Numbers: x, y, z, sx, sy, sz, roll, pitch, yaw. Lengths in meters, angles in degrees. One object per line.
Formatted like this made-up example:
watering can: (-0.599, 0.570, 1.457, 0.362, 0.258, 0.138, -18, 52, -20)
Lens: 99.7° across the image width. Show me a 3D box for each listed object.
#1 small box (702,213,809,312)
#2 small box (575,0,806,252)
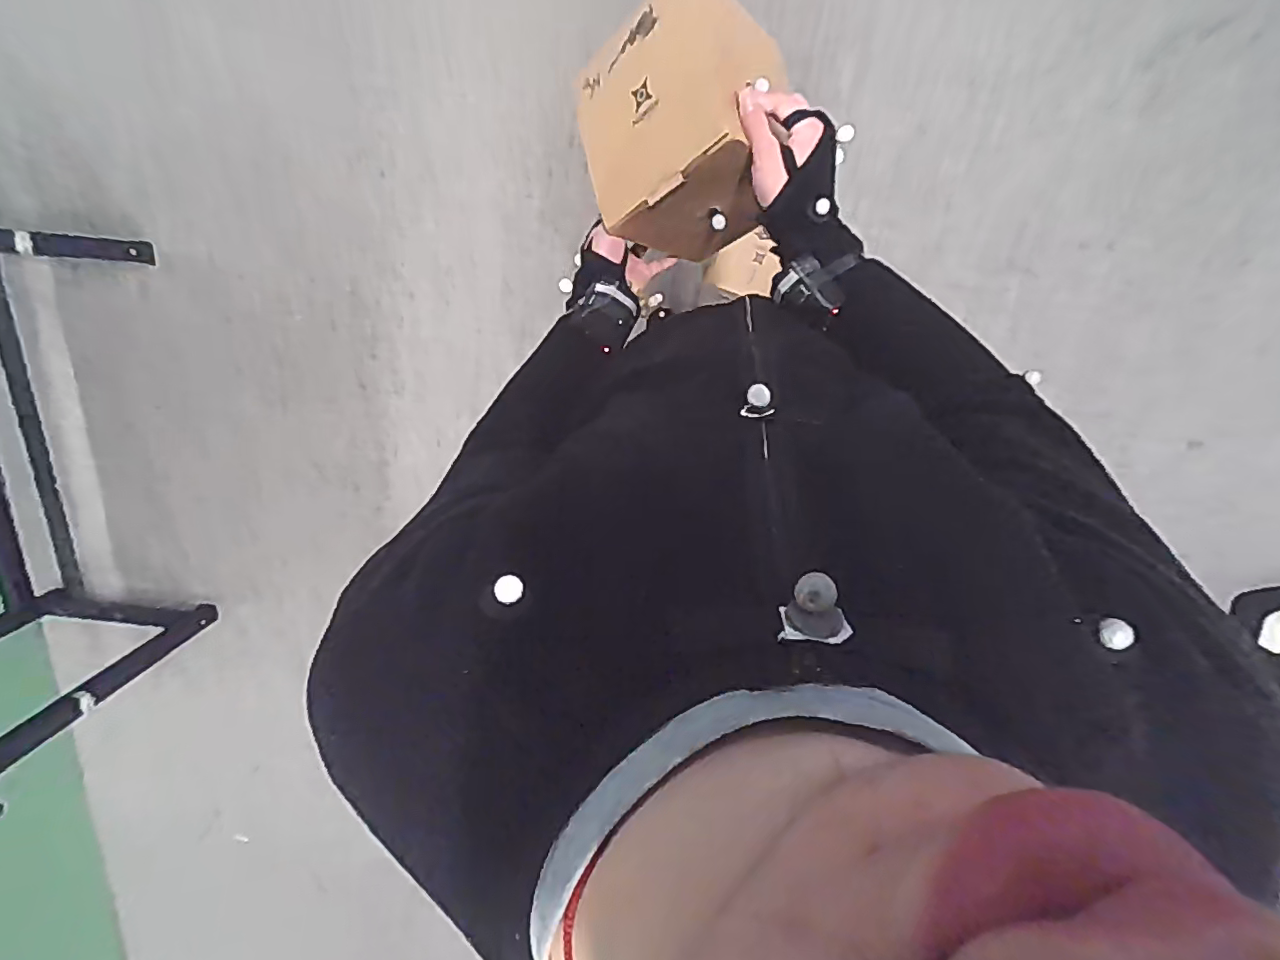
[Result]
small box: (0.240, -0.482, 1.182, 0.168, 0.176, 0.179, 20, 109, -3)
small box: (0.060, -0.370, 0.590, 0.168, 0.176, 0.179, -15, 87, 41)
